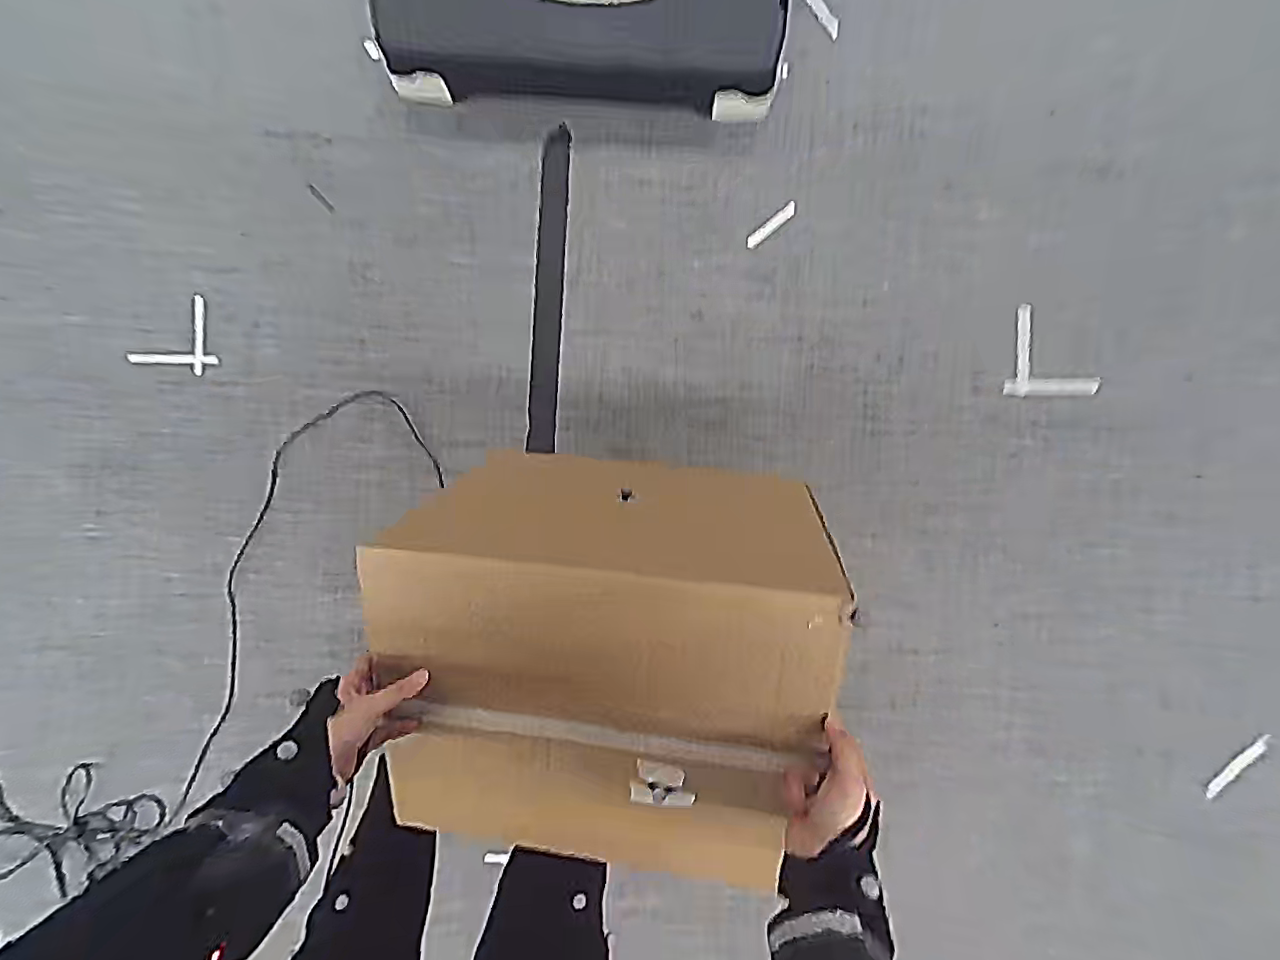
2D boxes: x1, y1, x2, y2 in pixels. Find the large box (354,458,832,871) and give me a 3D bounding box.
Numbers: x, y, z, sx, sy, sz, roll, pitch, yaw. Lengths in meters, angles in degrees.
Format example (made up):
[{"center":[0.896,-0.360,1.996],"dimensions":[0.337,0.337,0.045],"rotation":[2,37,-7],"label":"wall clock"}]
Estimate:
[{"center":[-0.033,0.165,0.621],"dimensions":[0.408,0.320,0.320],"rotation":[4,109,7],"label":"large box"}]
